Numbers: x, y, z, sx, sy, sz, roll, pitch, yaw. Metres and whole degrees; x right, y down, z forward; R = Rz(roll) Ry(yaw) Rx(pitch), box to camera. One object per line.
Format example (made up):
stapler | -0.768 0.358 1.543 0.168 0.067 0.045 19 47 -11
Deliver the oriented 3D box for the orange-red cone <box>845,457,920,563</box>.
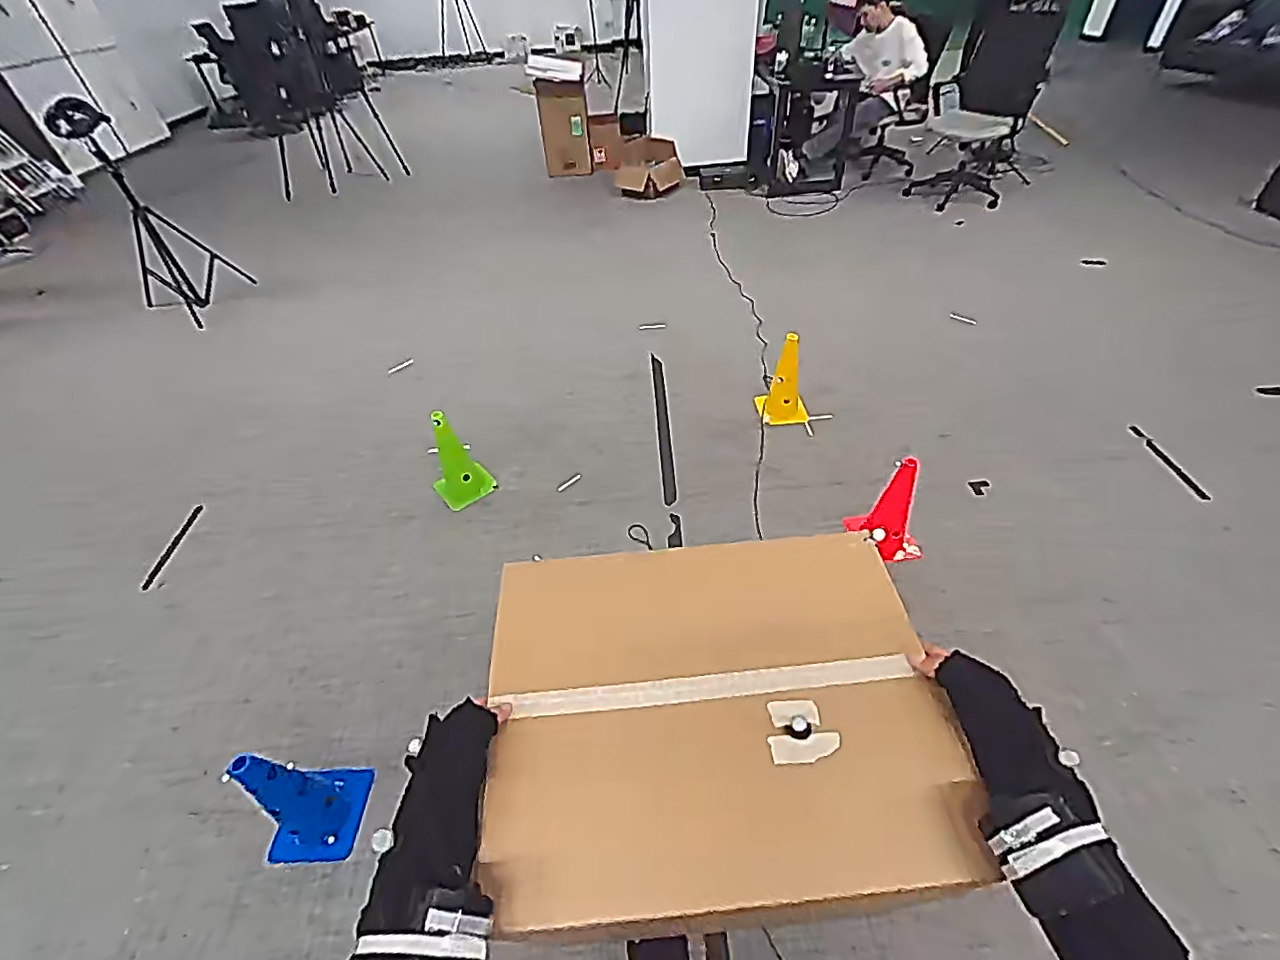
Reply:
orange-red cone | 0.803 0.072 1.702 0.198 0.360 0.199 -6 43 -2

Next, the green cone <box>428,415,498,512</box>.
green cone | -0.696 -0.092 1.999 0.202 0.368 0.200 -34 51 -24

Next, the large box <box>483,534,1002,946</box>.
large box | 0.070 0.292 0.609 0.408 0.320 0.320 -5 48 -2

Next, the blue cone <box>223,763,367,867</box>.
blue cone | -0.792 0.715 1.211 0.192 0.380 0.193 -3 44 4
